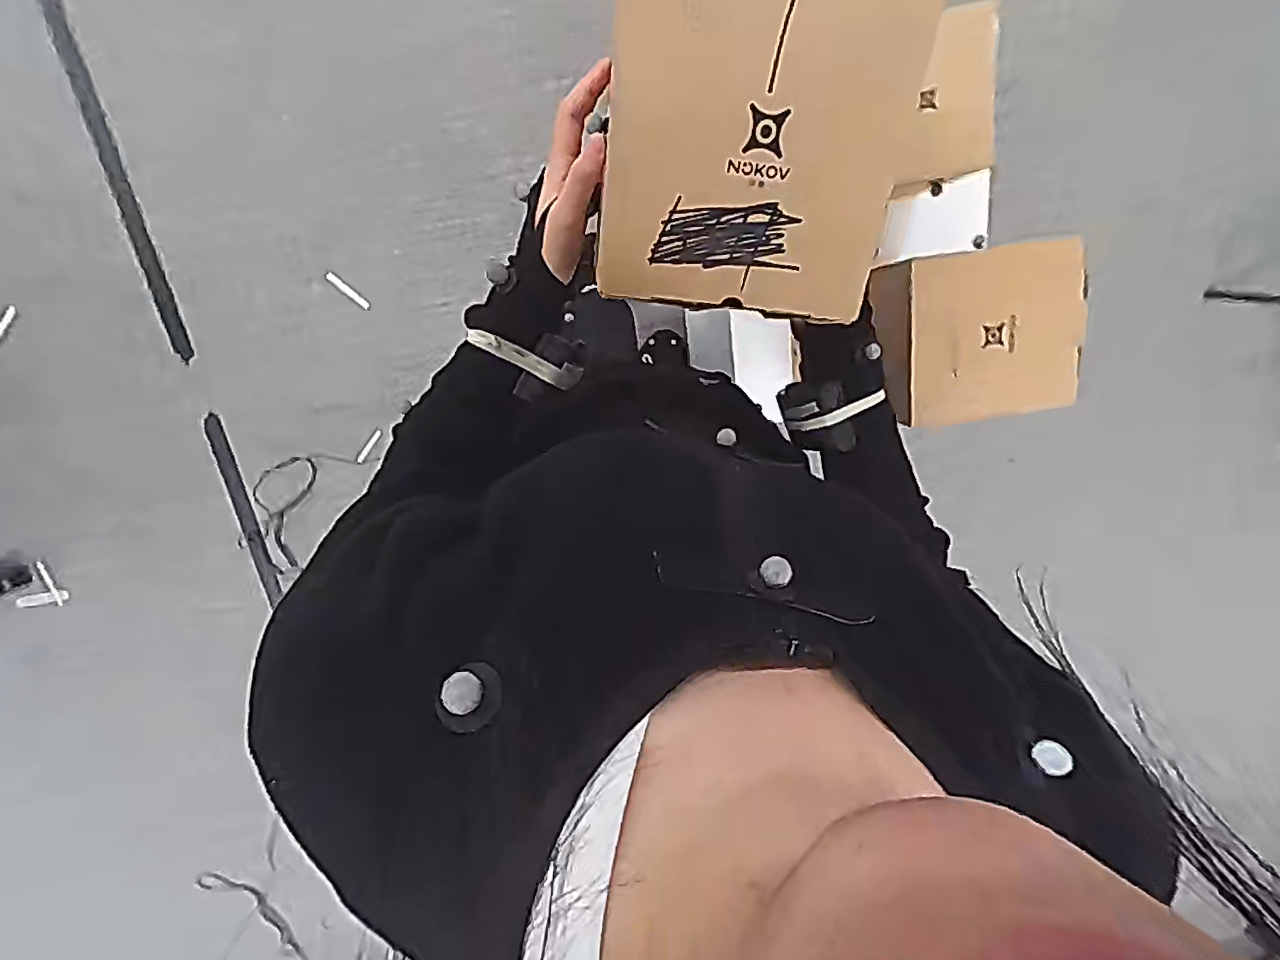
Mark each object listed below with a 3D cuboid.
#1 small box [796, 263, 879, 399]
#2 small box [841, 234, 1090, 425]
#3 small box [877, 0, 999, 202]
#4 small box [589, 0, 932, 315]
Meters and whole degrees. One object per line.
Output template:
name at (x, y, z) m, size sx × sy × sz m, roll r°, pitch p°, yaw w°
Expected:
small box at (0.324, -0.211, 0.761) m, size 0.179 × 0.176 × 0.168 m, roll -7°, pitch 106°, yaw 0°
small box at (0.343, -0.166, 0.604) m, size 0.179 × 0.176 × 0.168 m, roll -8°, pitch 105°, yaw 0°
small box at (0.312, -0.455, 0.686) m, size 0.179 × 0.176 × 0.168 m, roll -10°, pitch 107°, yaw 1°
small box at (0.053, -0.221, 0.368) m, size 0.168 × 0.176 × 0.179 m, roll 3°, pitch 115°, yaw -8°
